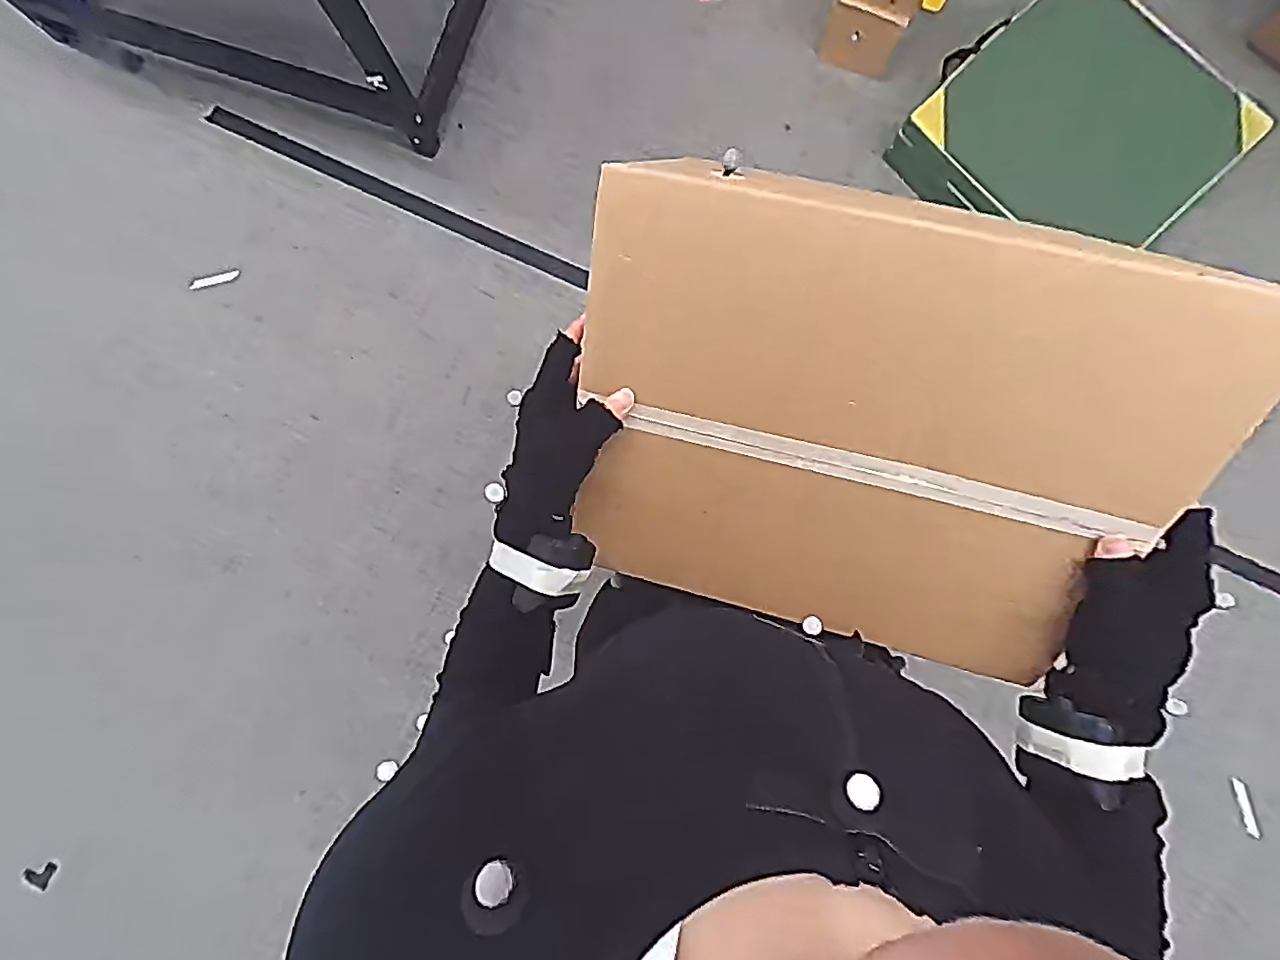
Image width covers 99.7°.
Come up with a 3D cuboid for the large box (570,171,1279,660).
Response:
[{"bbox_3d":[0.176,-0.094,0.520,0.408,0.320,0.320,14,124,6],"label":"large box"}]
